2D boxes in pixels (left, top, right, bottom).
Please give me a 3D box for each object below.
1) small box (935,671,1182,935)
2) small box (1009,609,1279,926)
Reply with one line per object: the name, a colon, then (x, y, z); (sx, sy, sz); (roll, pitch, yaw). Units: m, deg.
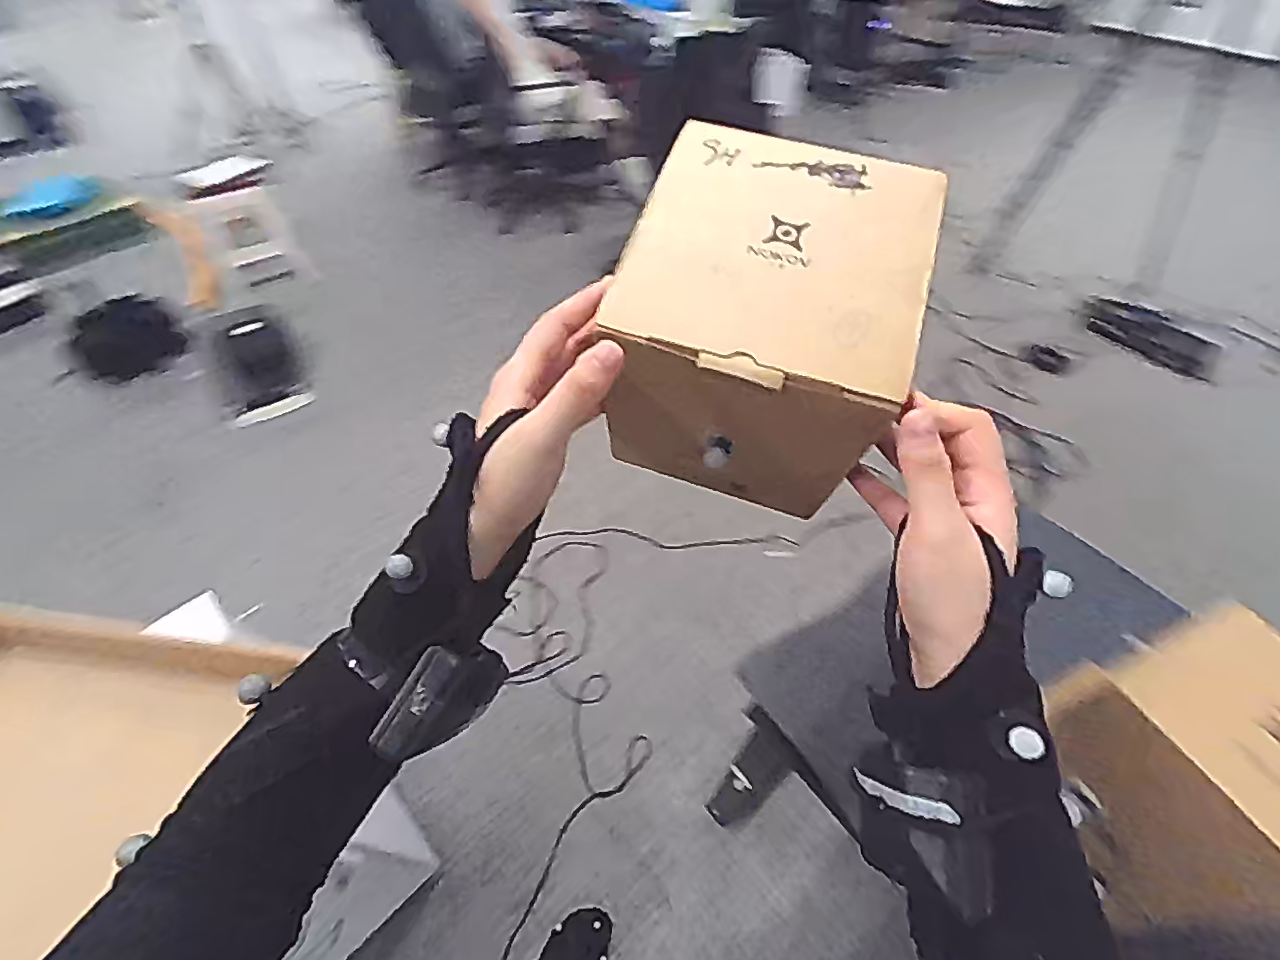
small box: (0.476, 0.350, 0.593); (0.168, 0.176, 0.179); (-22, 54, -20)
small box: (0.477, 0.246, 0.468); (0.179, 0.176, 0.168); (-19, 52, -16)
